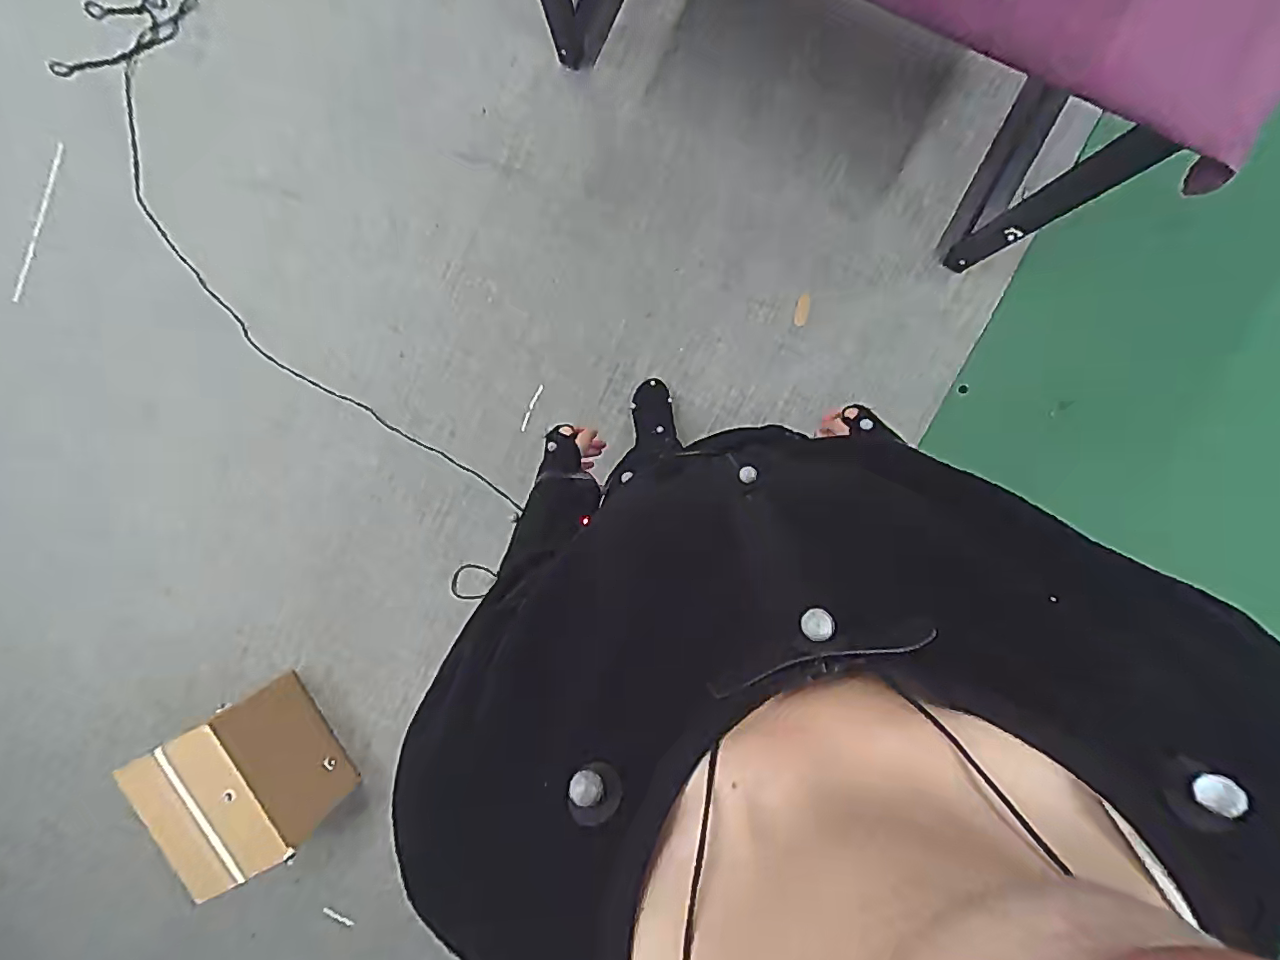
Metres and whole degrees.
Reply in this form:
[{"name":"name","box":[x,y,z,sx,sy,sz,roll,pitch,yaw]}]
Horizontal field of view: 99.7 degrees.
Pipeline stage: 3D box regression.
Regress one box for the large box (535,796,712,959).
[{"name":"large box","box":[-0.045,1.134,1.469,0.408,0.320,0.320,12,97,1]}]
